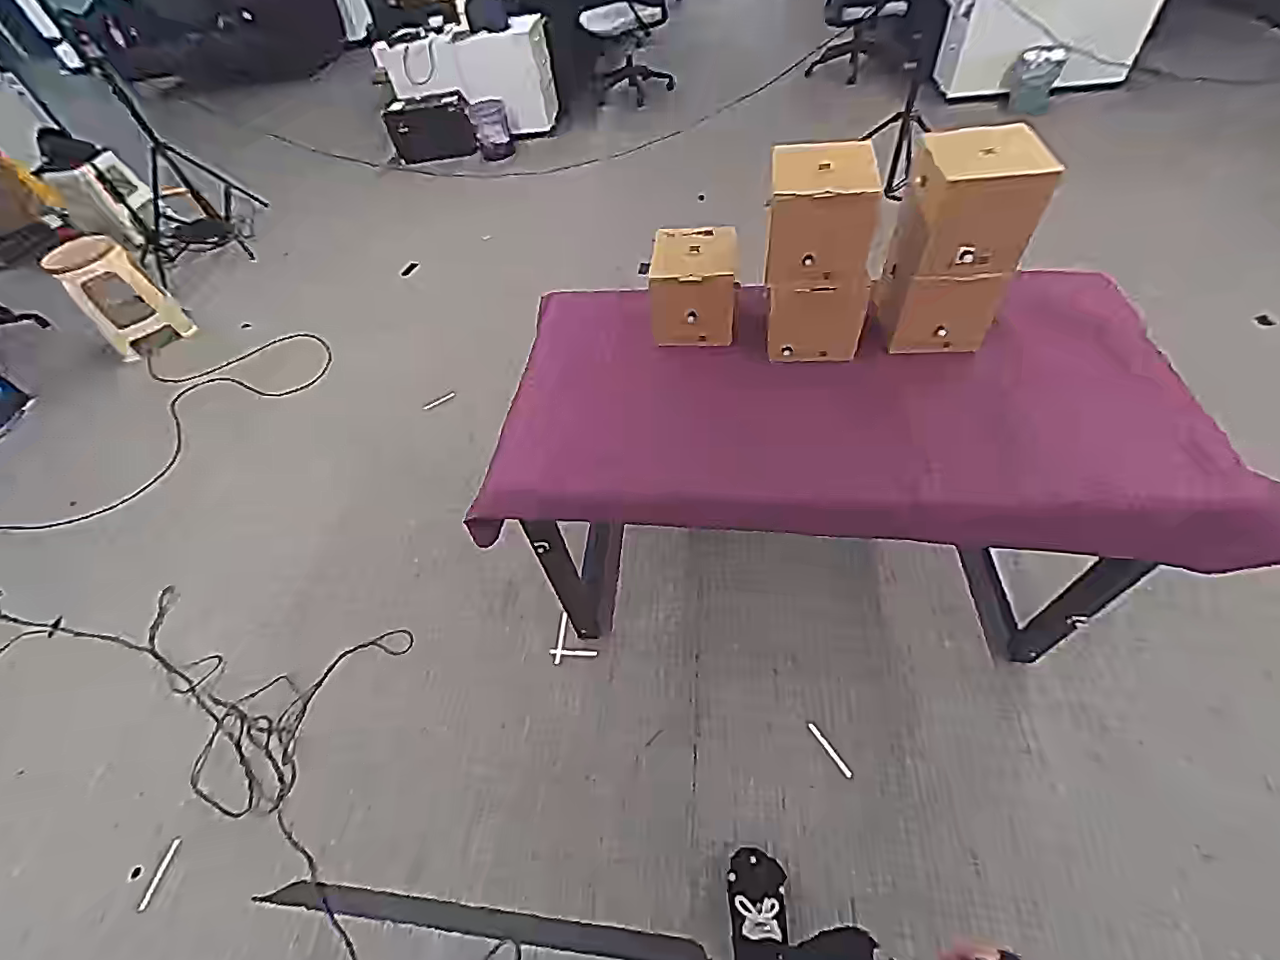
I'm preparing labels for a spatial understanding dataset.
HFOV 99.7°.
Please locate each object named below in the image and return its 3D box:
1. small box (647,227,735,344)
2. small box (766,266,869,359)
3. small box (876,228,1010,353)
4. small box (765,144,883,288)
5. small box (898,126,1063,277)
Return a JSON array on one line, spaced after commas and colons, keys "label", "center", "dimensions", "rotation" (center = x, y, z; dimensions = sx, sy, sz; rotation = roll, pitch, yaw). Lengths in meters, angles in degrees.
[{"label": "small box", "center": [0.114, -0.401, 1.132], "dimensions": [0.168, 0.176, 0.179], "rotation": [2, 55, 10]}, {"label": "small box", "center": [0.339, -0.355, 1.068], "dimensions": [0.168, 0.176, 0.179], "rotation": [1, 53, 8]}, {"label": "small box", "center": [0.570, -0.367, 1.046], "dimensions": [0.168, 0.176, 0.179], "rotation": [1, 54, 9]}, {"label": "small box", "center": [0.309, -0.458, 0.945], "dimensions": [0.168, 0.176, 0.179], "rotation": [3, 54, 10]}, {"label": "small box", "center": [0.558, -0.470, 0.920], "dimensions": [0.168, 0.176, 0.179], "rotation": [-2, 54, 8]}]
